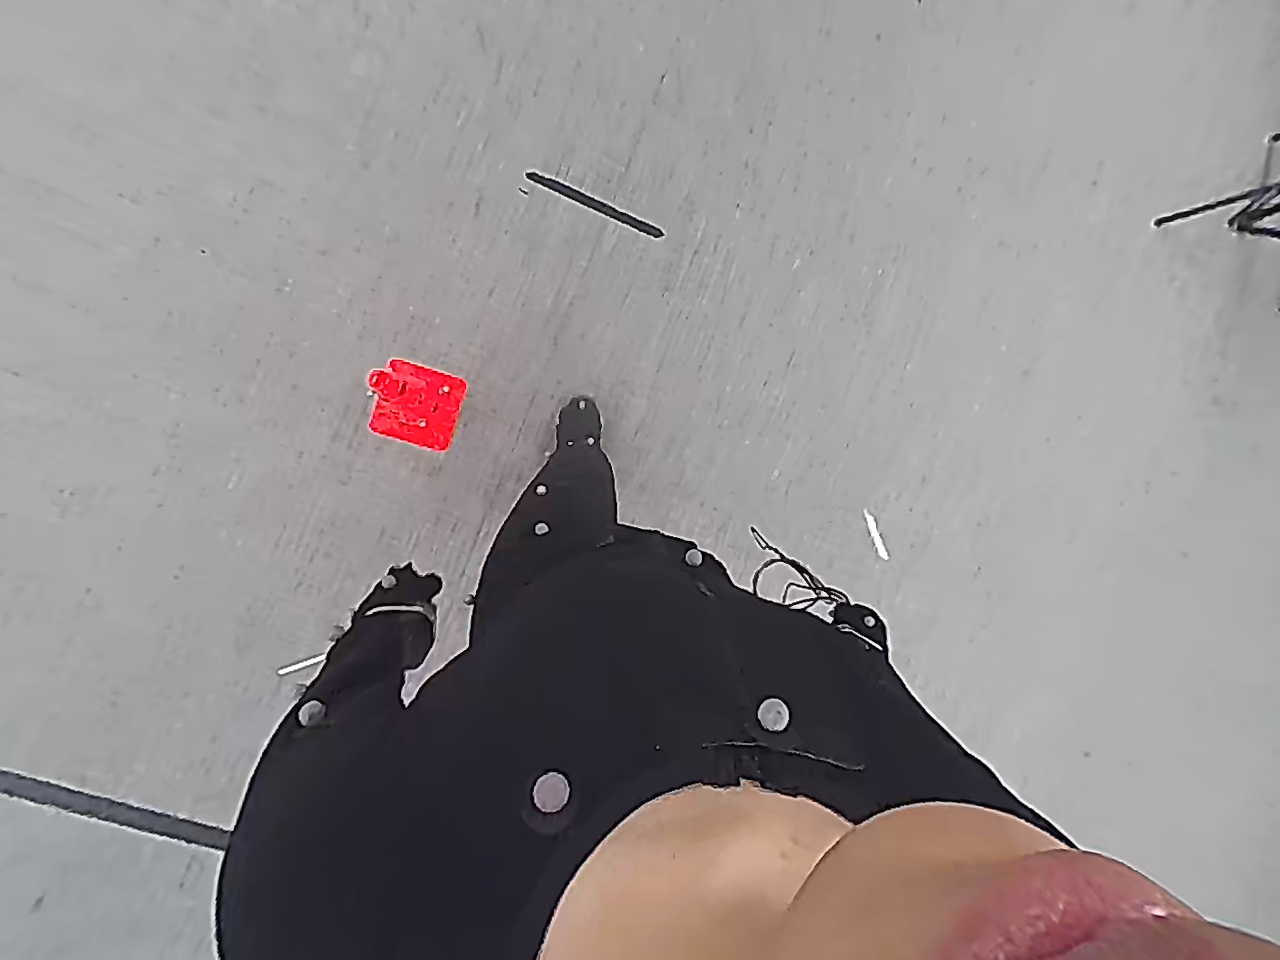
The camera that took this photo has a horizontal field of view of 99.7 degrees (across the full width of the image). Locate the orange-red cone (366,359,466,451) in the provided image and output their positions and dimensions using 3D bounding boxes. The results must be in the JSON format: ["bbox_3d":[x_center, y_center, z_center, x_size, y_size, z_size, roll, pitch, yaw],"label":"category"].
[{"bbox_3d":[-0.534,-0.193,1.199,0.199,0.360,0.198,18,86,-8],"label":"orange-red cone"}]
